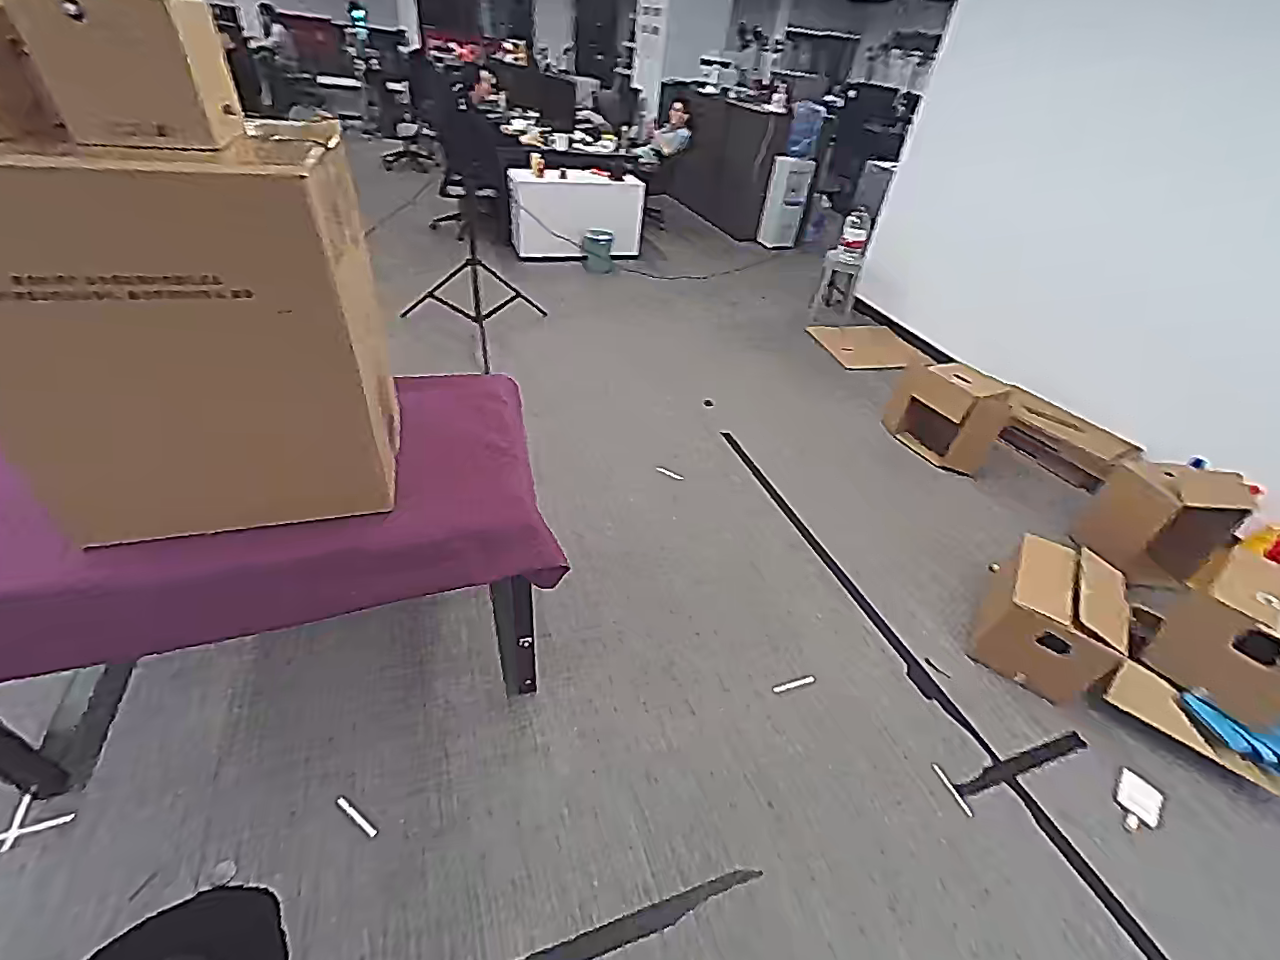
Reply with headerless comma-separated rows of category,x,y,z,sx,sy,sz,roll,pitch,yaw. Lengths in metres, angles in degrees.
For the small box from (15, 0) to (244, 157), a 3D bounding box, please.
small box,-0.687,-0.566,0.755,0.168,0.176,0.179,-8,41,-16
